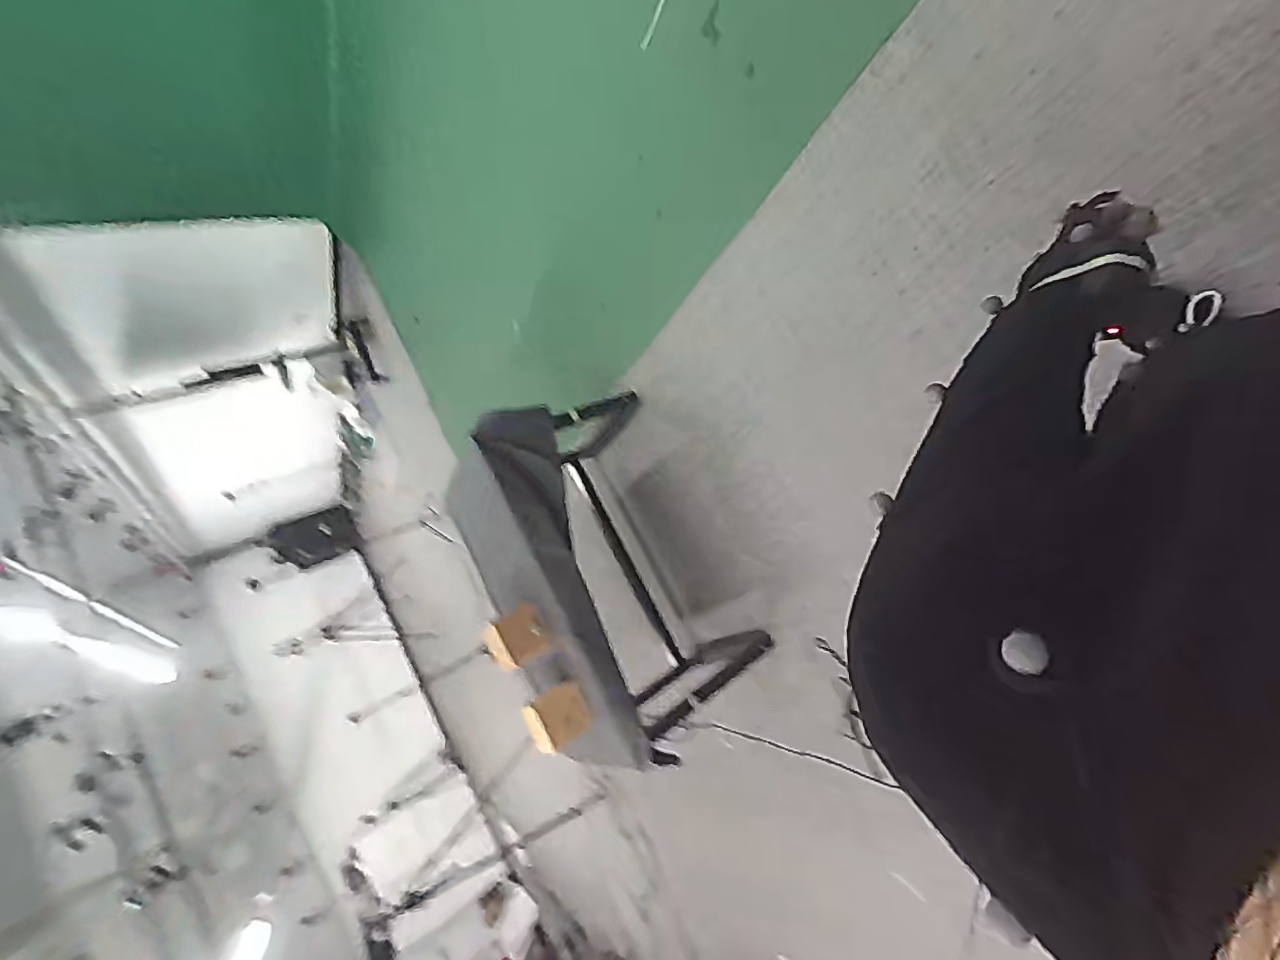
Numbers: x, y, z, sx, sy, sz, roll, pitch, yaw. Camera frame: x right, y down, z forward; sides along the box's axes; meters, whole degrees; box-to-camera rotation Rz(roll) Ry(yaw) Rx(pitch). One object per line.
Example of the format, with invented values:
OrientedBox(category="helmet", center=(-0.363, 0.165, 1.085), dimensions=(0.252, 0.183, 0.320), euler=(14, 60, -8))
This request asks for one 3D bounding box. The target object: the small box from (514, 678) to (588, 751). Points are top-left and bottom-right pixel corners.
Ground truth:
OrientedBox(category="small box", center=(-0.301, 0.795, 1.841), dimensions=(0.168, 0.176, 0.179), euler=(61, 146, 9))

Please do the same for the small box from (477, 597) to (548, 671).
OrientedBox(category="small box", center=(-0.442, 0.534, 1.881), dimensions=(0.168, 0.176, 0.179), euler=(56, 143, 13))
